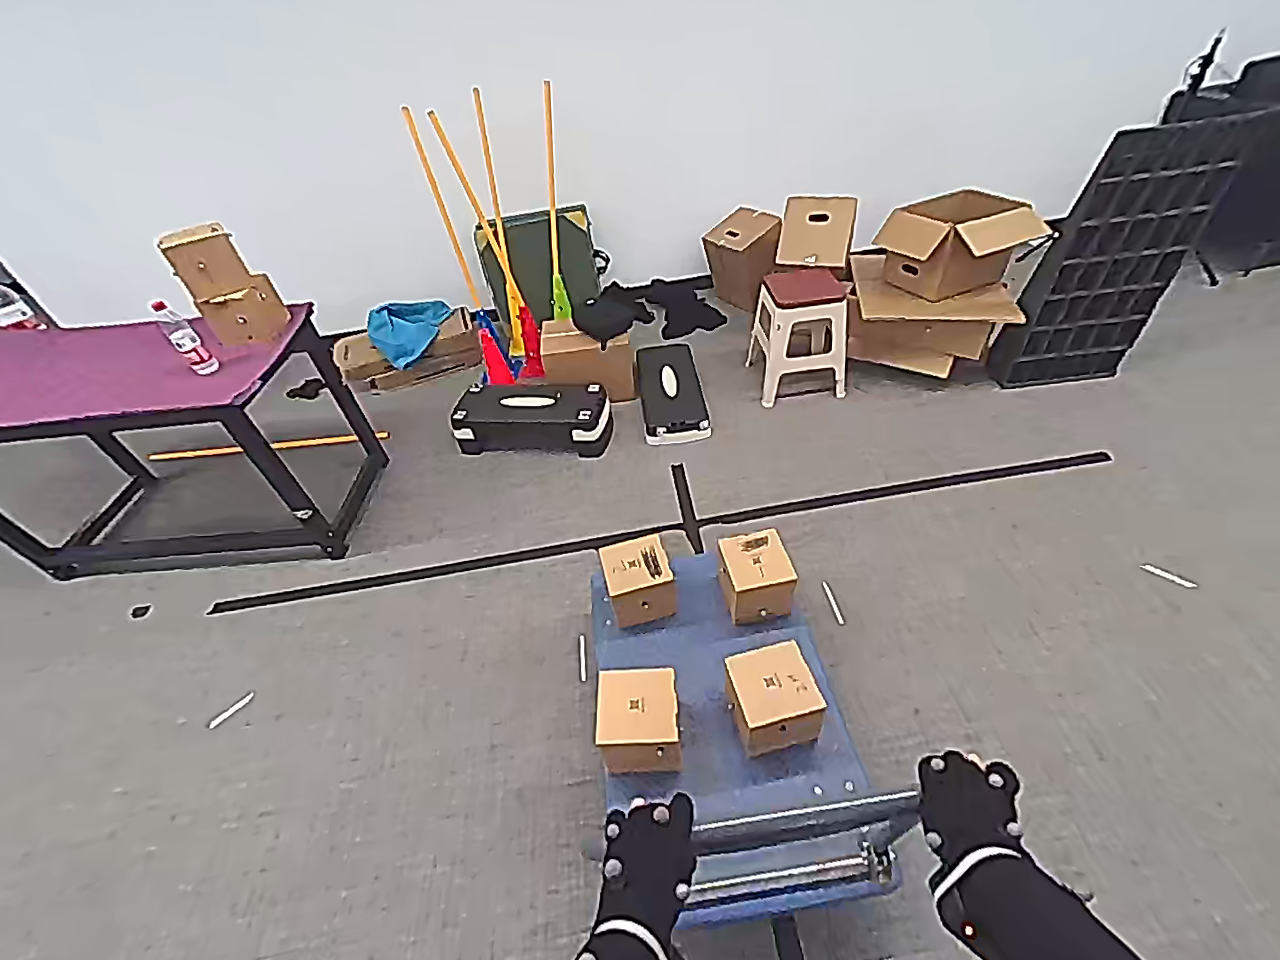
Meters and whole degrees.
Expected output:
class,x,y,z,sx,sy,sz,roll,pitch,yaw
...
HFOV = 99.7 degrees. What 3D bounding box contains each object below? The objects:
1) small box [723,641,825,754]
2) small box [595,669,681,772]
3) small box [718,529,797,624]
class,x,y,z,sx,sy,sz,roll,pitch,yaw
small box,0.300,0.501,1.236,0.179,0.176,0.168,-13,44,-5
small box,0.000,0.550,1.230,0.179,0.176,0.168,-4,44,3
small box,0.311,0.264,1.478,0.168,0.176,0.179,-12,45,-3
